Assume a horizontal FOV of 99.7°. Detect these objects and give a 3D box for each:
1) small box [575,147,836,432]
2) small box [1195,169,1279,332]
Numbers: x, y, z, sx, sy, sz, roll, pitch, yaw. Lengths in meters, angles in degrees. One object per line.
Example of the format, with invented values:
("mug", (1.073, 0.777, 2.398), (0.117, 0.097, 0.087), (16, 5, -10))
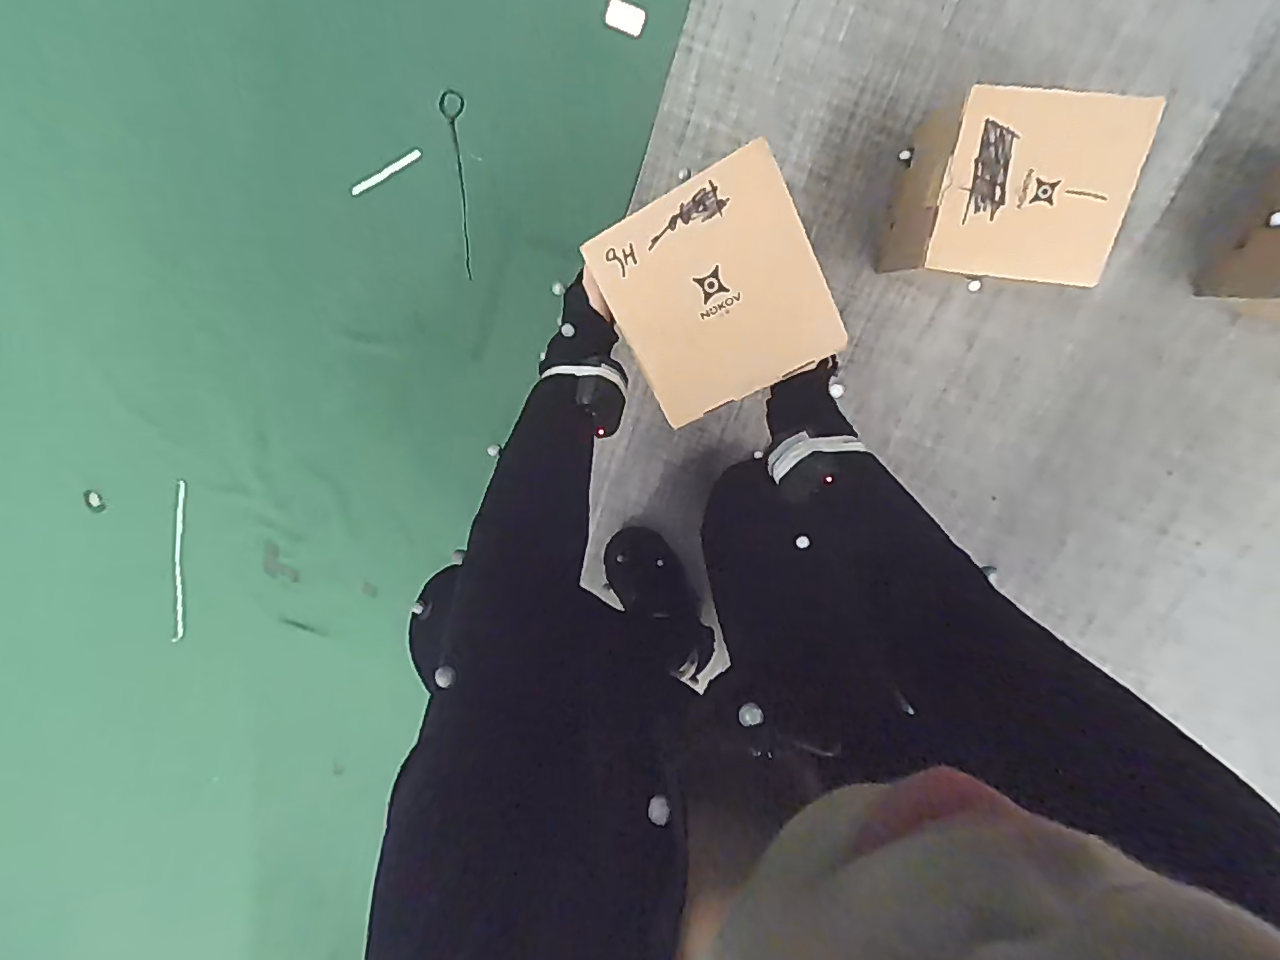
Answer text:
("small box", (0.064, -0.174, 0.519), (0.168, 0.176, 0.179), (-25, 105, 14))
("small box", (0.781, -0.242, 0.570), (0.179, 0.176, 0.168), (21, 110, 1))
